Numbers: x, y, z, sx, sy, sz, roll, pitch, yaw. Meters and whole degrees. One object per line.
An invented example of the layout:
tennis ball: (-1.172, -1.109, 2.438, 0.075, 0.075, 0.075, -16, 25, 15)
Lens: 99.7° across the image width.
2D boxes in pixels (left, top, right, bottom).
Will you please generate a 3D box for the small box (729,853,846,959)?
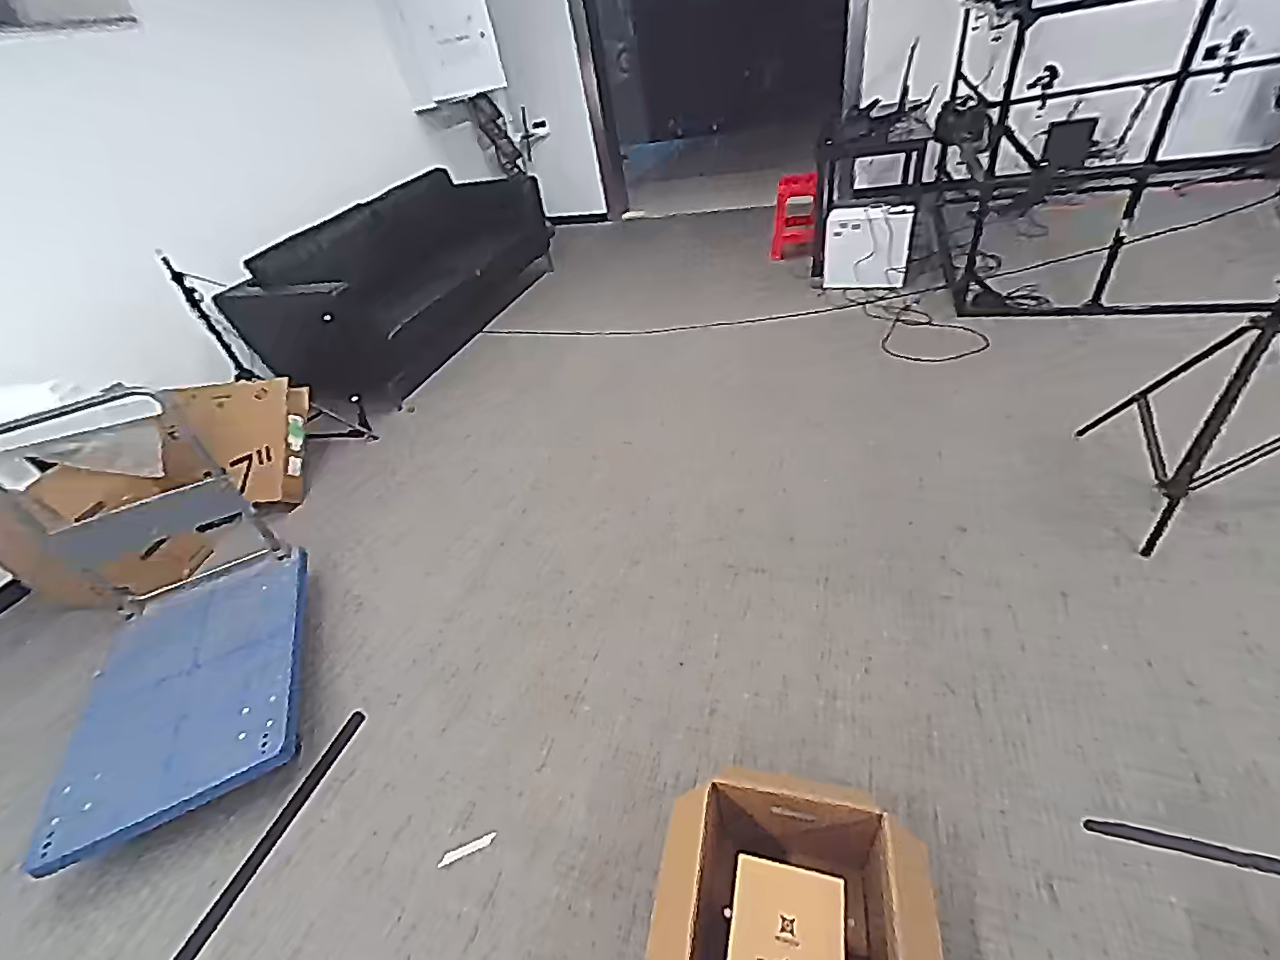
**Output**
small box: (0.235, 0.739, 0.861, 0.168, 0.176, 0.179, 3, 42, 18)
